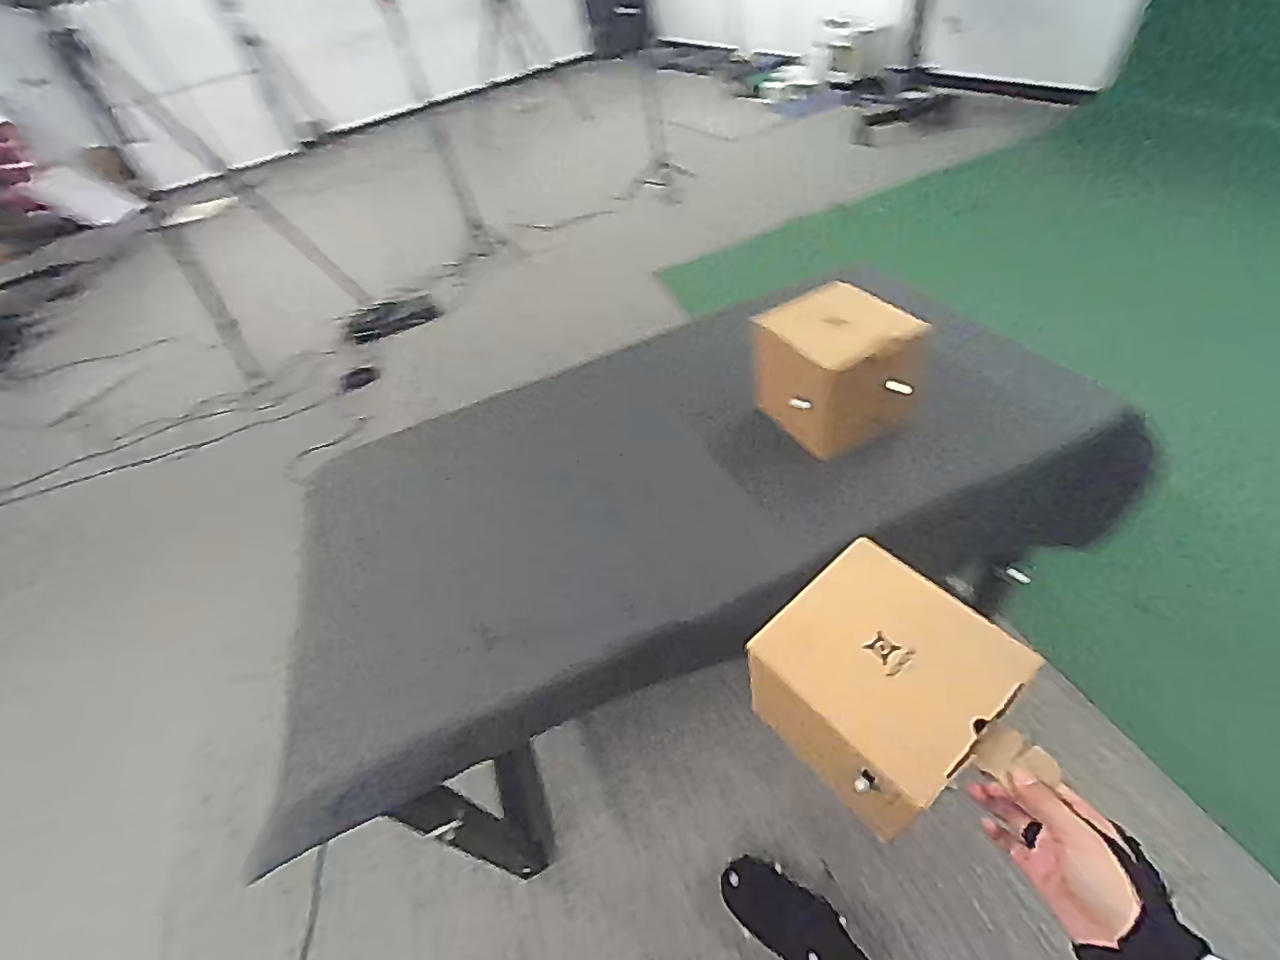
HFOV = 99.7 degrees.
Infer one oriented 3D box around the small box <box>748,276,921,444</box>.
[{"bbox_3d":[0.283,-0.176,0.818,0.168,0.176,0.179,-25,45,-12],"label":"small box"}]
